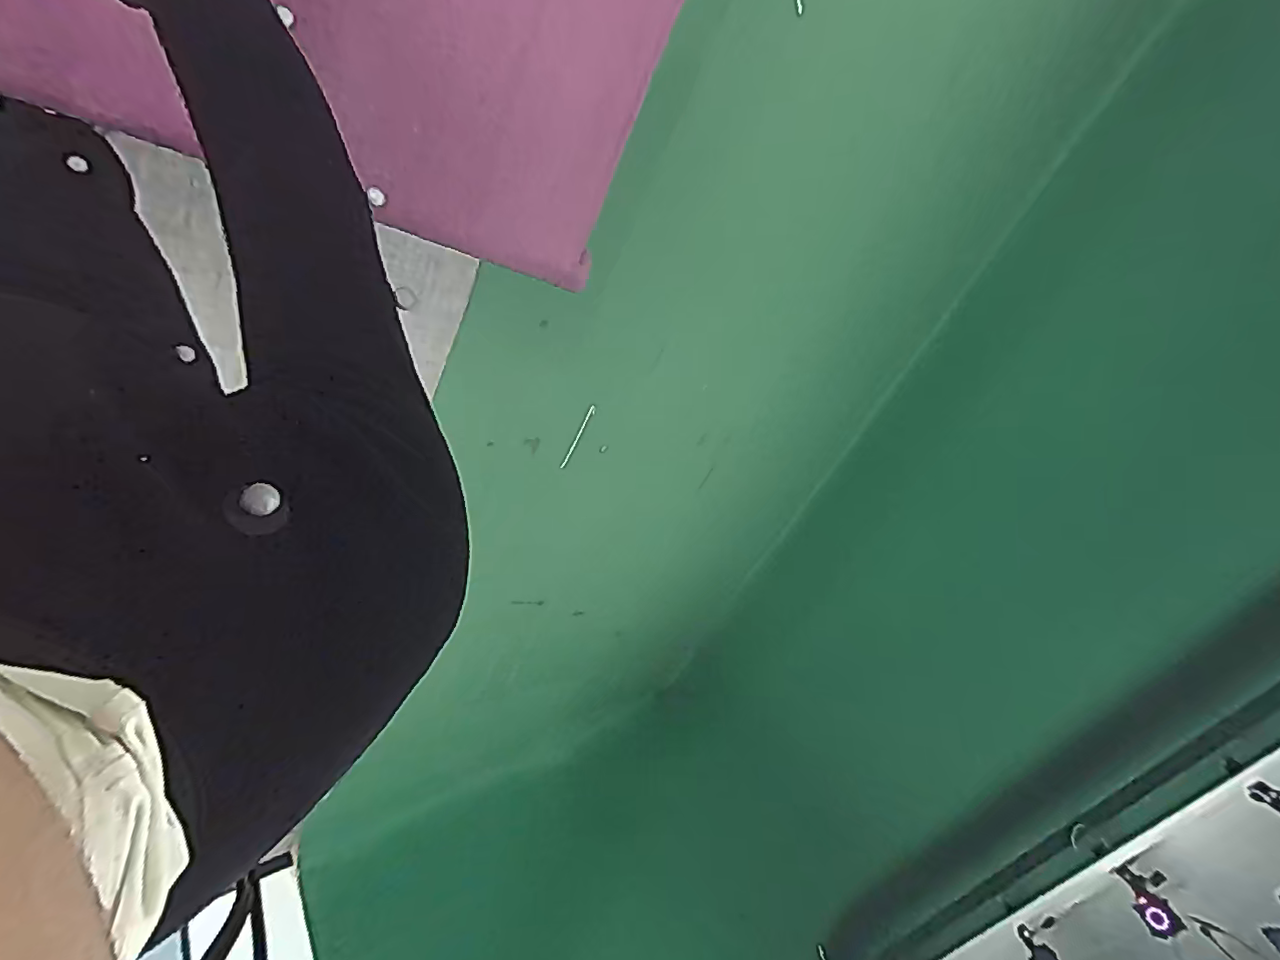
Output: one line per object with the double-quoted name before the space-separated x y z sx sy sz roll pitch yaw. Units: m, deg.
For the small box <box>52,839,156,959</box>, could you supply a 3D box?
"small box" -1.333 1.045 1.344 0.168 0.176 0.179 5 124 -49
